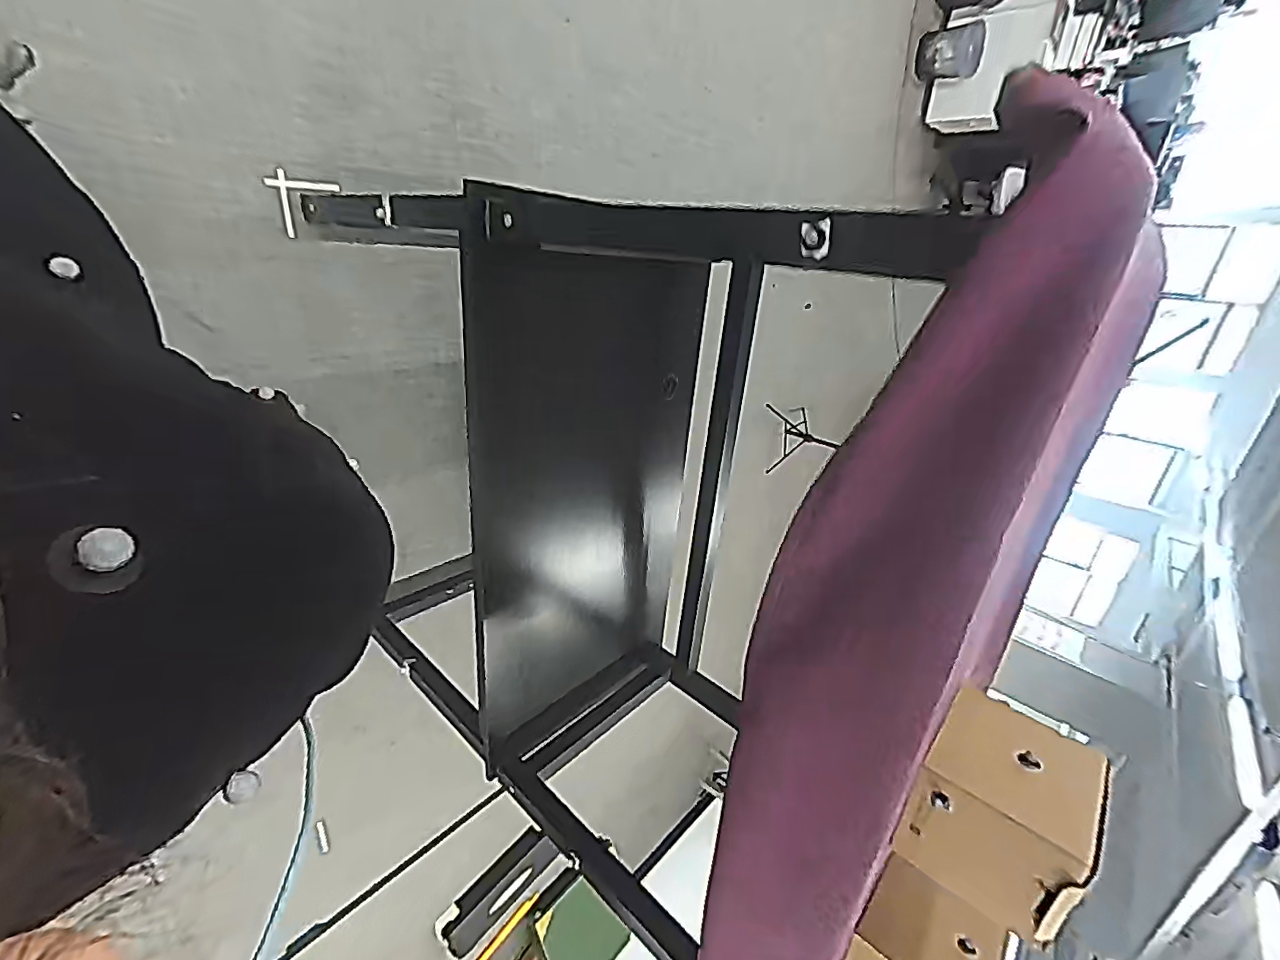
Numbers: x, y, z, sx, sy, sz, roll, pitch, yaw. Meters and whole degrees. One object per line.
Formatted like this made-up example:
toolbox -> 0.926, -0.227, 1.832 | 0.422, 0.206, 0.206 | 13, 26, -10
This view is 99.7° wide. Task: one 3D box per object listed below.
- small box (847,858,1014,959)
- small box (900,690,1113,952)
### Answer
small box -> 0.413, 0.716, 0.792 | 0.179, 0.176, 0.168 | -16, 119, -47
small box -> 0.449, 0.407, 0.676 | 0.179, 0.176, 0.168 | -26, 128, -42
